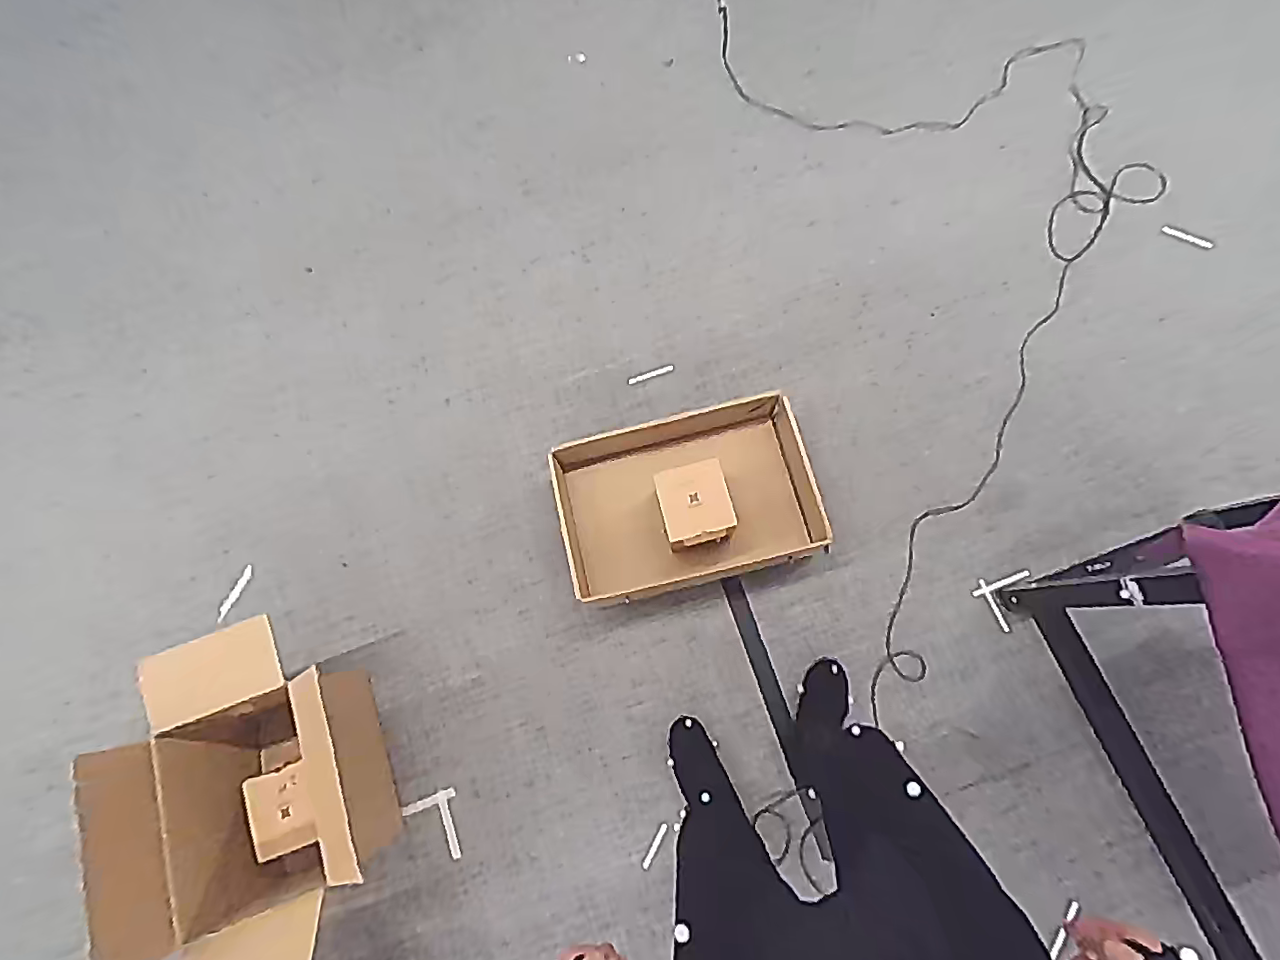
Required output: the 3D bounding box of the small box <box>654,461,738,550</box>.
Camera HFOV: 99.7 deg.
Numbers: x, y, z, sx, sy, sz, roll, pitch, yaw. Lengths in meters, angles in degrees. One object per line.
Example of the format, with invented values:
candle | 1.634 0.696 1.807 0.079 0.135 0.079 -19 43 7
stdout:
small box | 0.137 0.072 1.349 0.168 0.176 0.179 -14 74 0
